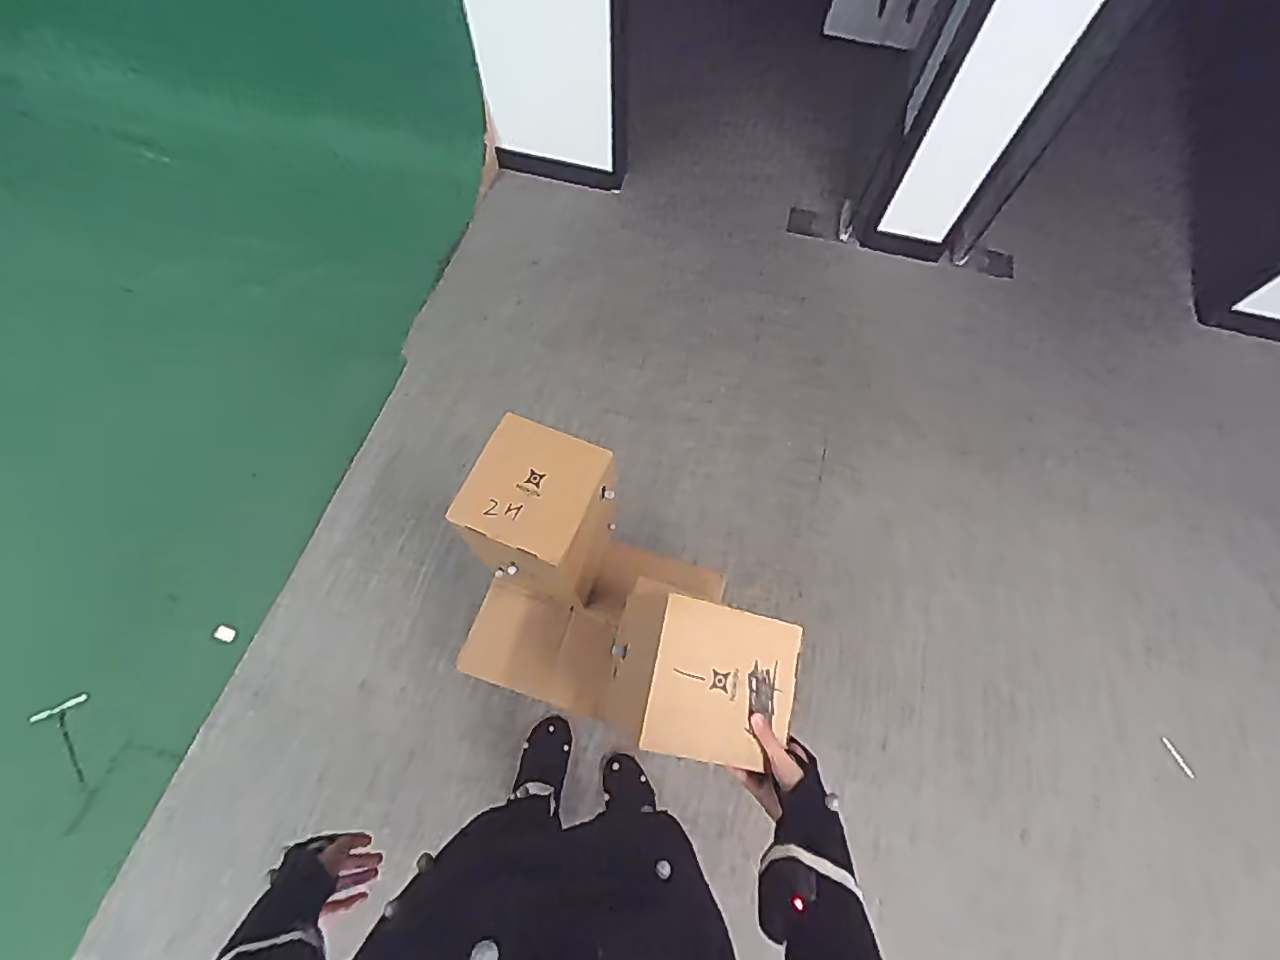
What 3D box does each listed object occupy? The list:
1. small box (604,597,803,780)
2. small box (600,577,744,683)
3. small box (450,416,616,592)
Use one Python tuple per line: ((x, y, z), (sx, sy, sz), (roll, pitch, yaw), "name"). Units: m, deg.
((0.071, 0.246, 0.670), (0.179, 0.176, 0.168), (17, 72, -13), "small box")
((0.050, 0.277, 0.871), (0.179, 0.176, 0.168), (19, 70, 7), "small box")
((-0.143, 0.042, 0.792), (0.168, 0.176, 0.179), (21, 68, 9), "small box")
